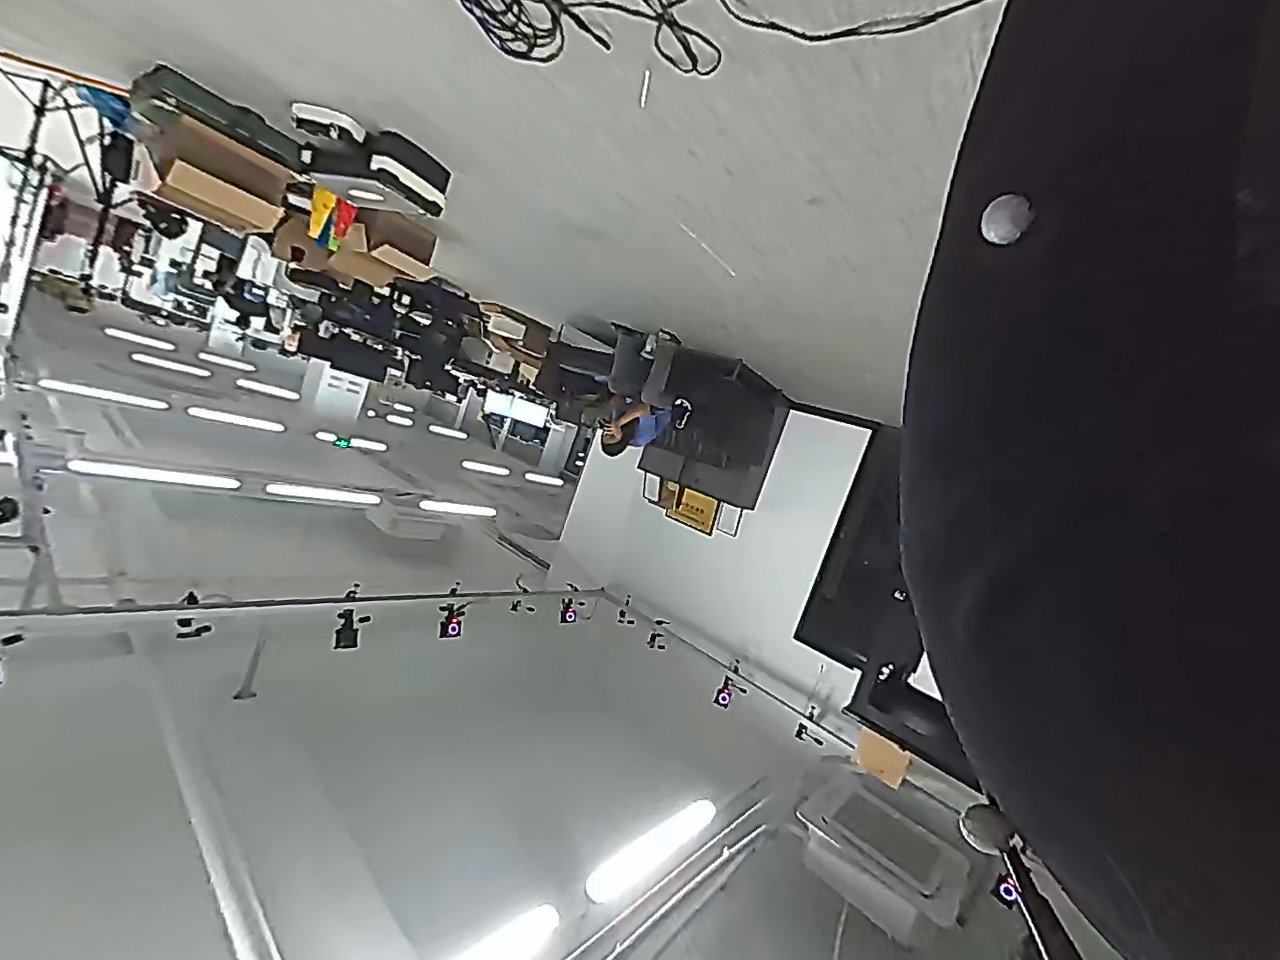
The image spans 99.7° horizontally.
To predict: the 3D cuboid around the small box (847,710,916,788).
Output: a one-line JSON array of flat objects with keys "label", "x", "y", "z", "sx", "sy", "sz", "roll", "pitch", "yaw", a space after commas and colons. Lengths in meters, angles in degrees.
[{"label": "small box", "x": 0.867, "y": 0.951, "z": 1.931, "sx": 0.168, "sy": 0.176, "sz": 0.179, "roll": 22, "pitch": -174, "yaw": 34}]
